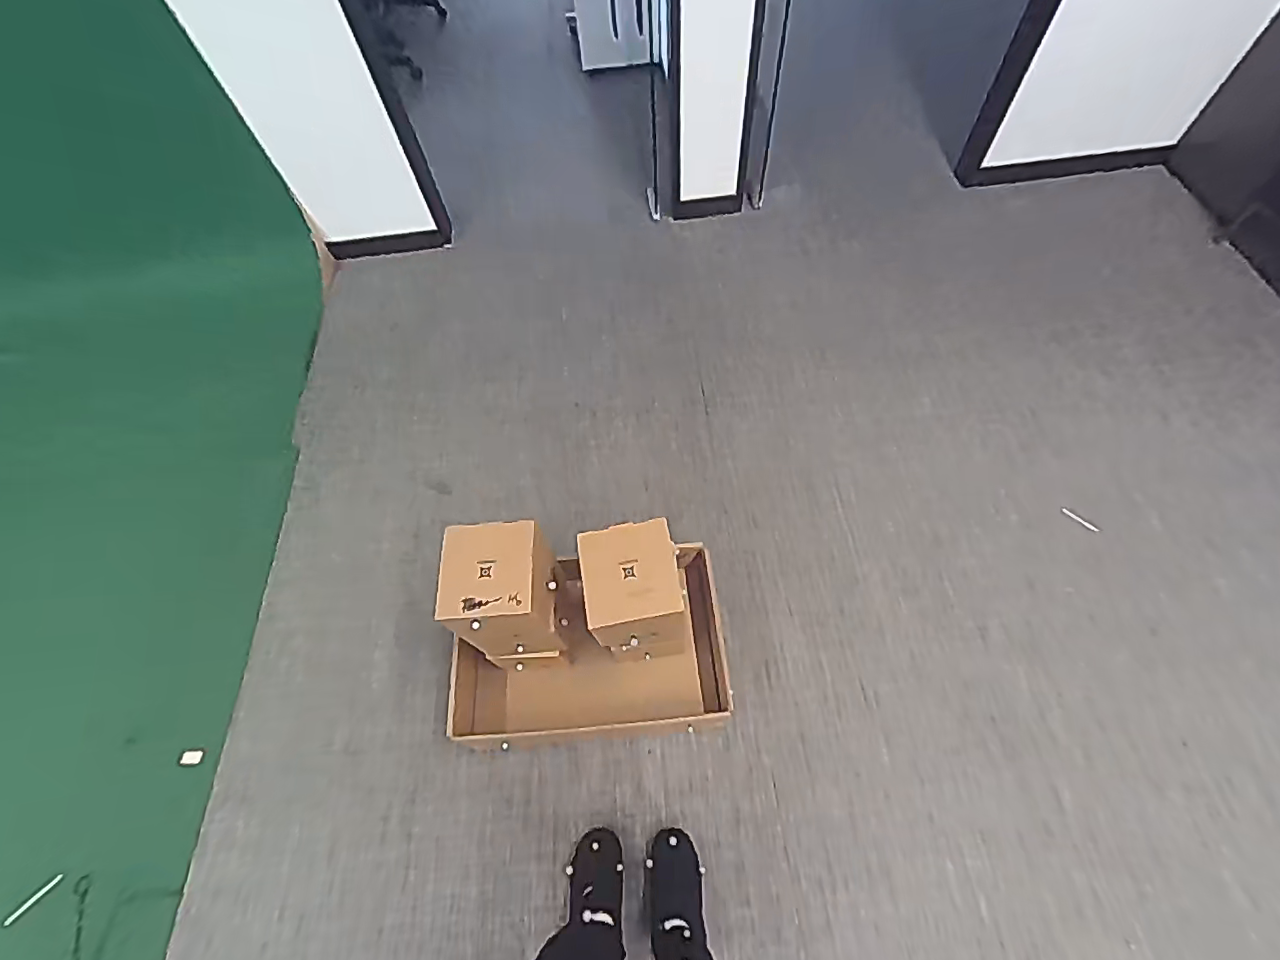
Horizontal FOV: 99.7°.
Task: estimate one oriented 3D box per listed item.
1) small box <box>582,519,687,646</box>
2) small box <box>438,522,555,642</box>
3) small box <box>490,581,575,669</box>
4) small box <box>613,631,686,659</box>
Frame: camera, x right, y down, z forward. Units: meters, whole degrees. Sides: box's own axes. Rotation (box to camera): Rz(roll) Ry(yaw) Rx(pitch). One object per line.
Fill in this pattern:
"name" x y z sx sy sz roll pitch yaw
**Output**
"small box" -0.009 0.195 1.005 0.168 0.176 0.179 -10 63 0
"small box" -0.259 0.195 1.021 0.168 0.176 0.179 -4 61 2
"small box" -0.252 0.356 1.309 0.168 0.176 0.179 -2 61 2
"small box" 0.020 0.328 1.303 0.168 0.176 0.179 -6 62 1
